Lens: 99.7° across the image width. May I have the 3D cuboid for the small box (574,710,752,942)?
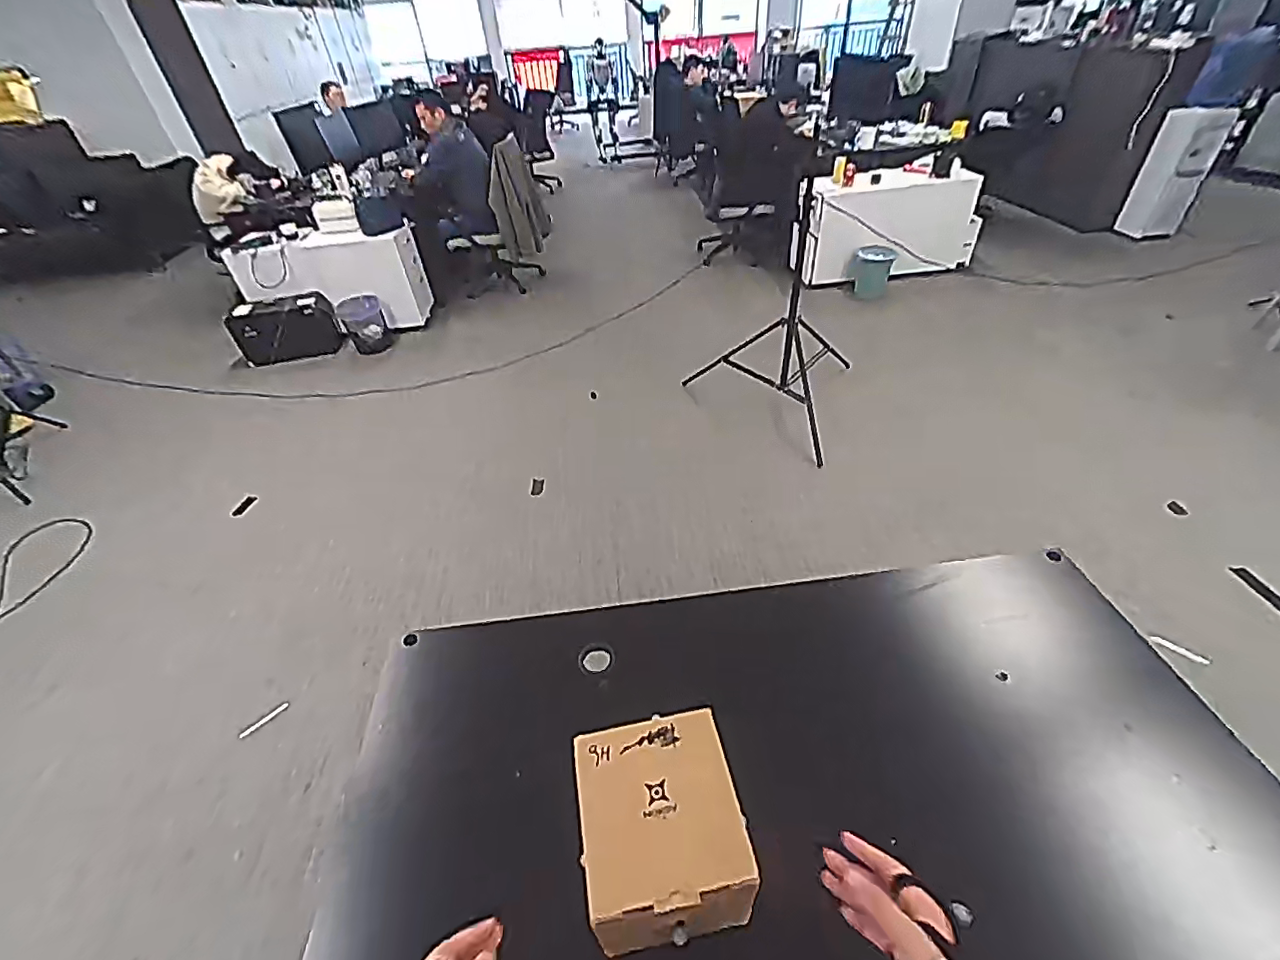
[{"bbox_3d":[0.023,0.402,0.626,0.168,0.176,0.179,-10,40,-5],"label":"small box"}]
